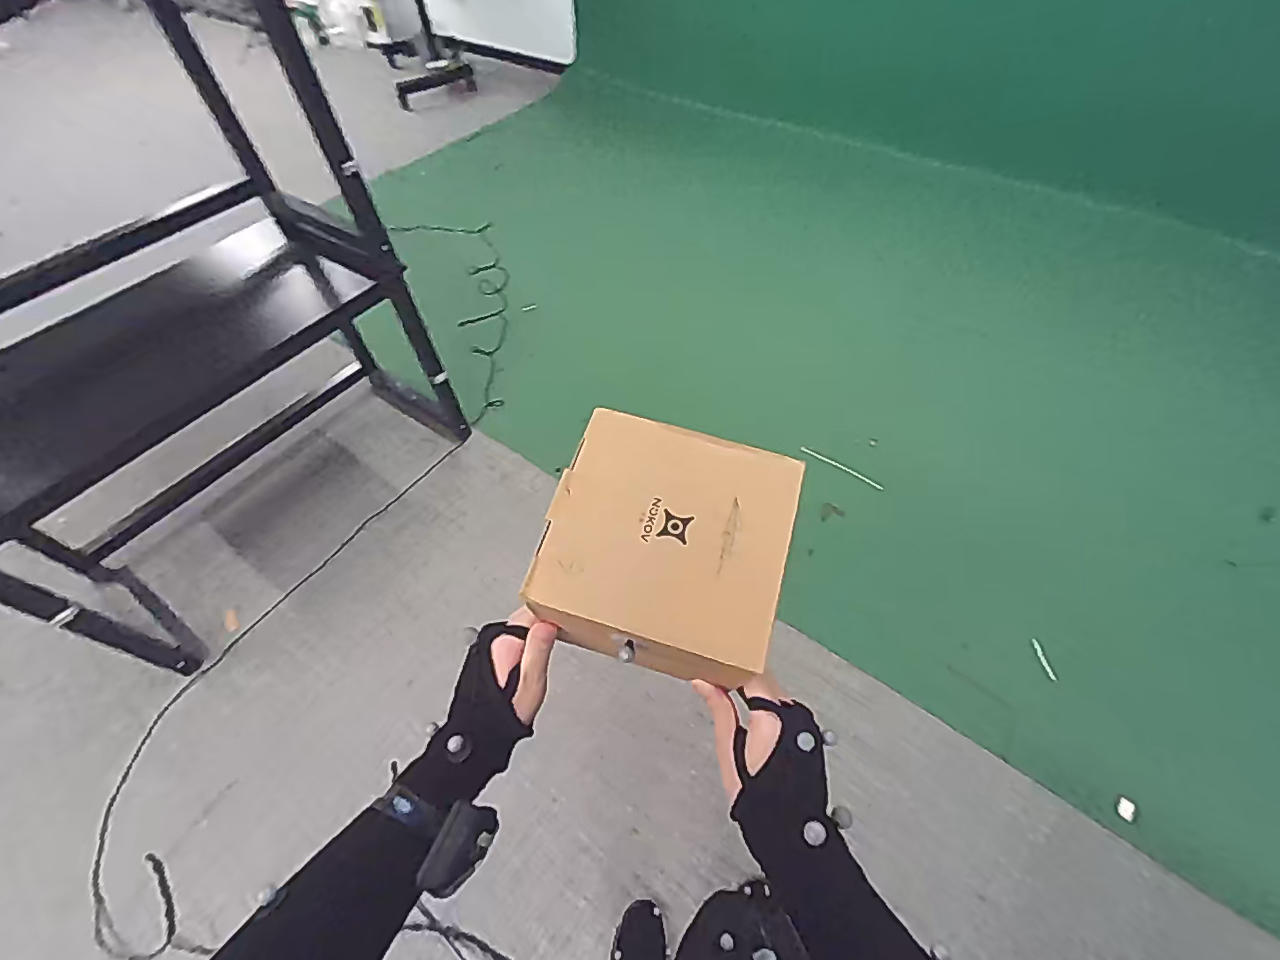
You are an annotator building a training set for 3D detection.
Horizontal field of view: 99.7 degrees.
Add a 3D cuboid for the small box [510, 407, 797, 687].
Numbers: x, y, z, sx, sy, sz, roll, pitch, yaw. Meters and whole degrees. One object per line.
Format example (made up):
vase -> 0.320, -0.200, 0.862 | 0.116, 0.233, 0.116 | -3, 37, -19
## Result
small box -> 0.015, 0.067, 0.465 | 0.179, 0.176, 0.168 | 16, 64, 7
